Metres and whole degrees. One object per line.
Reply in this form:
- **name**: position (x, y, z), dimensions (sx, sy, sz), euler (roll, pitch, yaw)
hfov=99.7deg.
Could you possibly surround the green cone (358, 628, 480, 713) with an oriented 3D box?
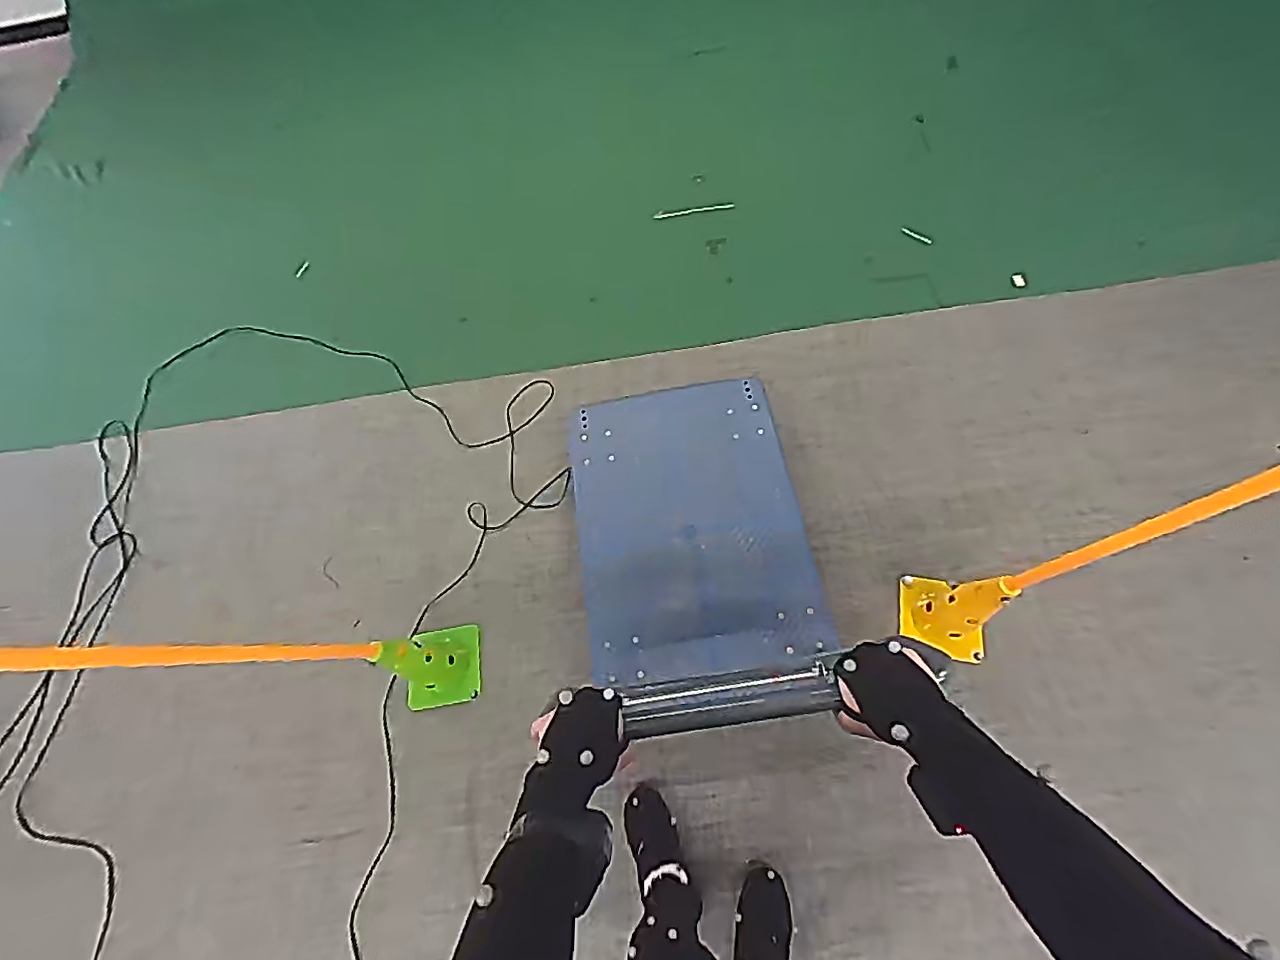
- **green cone**: position (-0.562, 0.448, 1.329), dimensions (0.202, 0.368, 0.200), euler (-12, 64, 3)
